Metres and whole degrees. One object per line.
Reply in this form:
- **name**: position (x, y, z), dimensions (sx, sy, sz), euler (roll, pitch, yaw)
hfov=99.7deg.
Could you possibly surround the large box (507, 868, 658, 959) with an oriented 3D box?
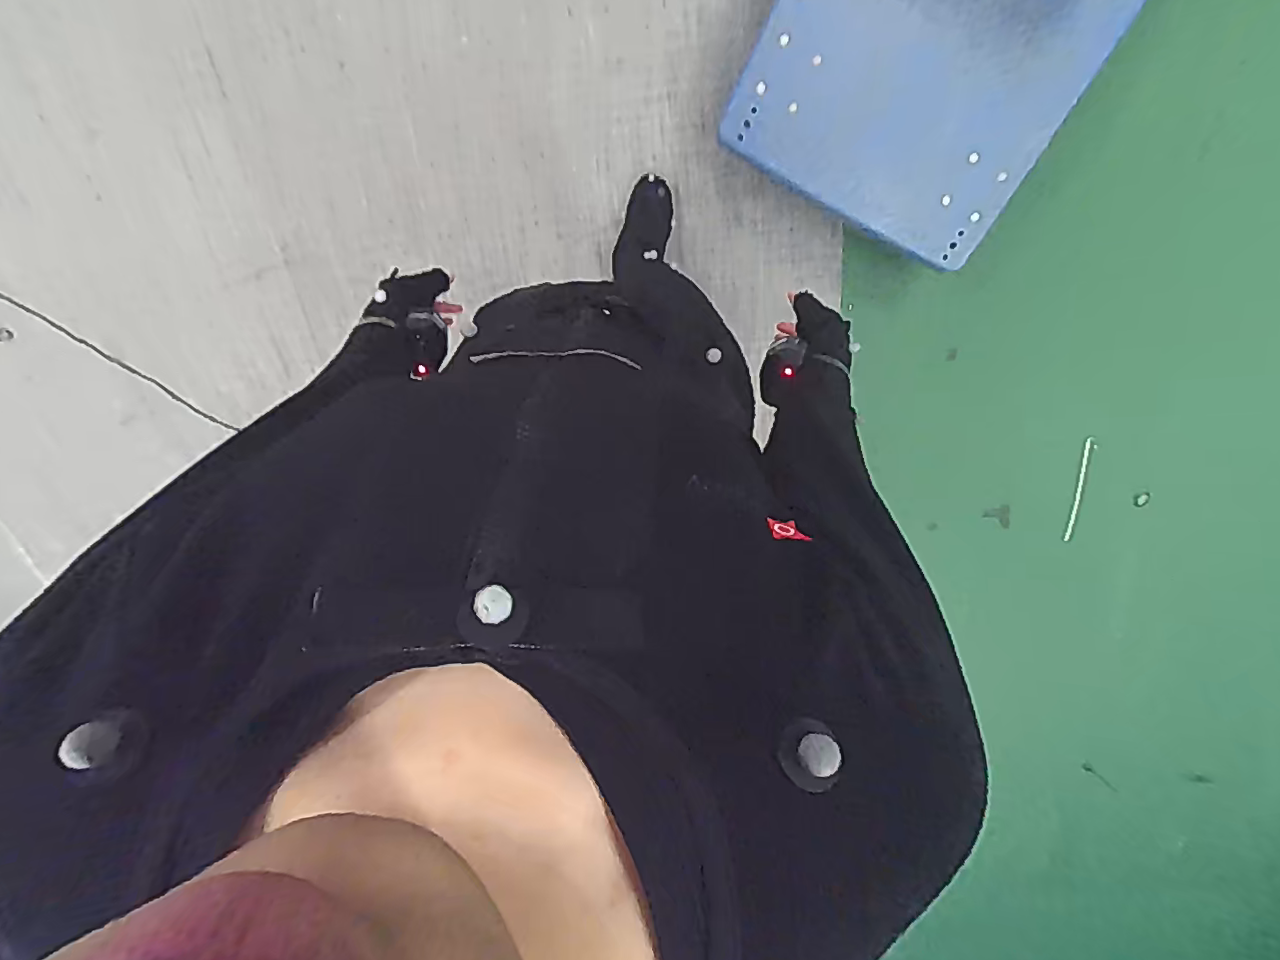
- **large box**: position (-0.159, 1.440, 1.635), dimensions (0.408, 0.320, 0.320), euler (-5, 111, 3)
